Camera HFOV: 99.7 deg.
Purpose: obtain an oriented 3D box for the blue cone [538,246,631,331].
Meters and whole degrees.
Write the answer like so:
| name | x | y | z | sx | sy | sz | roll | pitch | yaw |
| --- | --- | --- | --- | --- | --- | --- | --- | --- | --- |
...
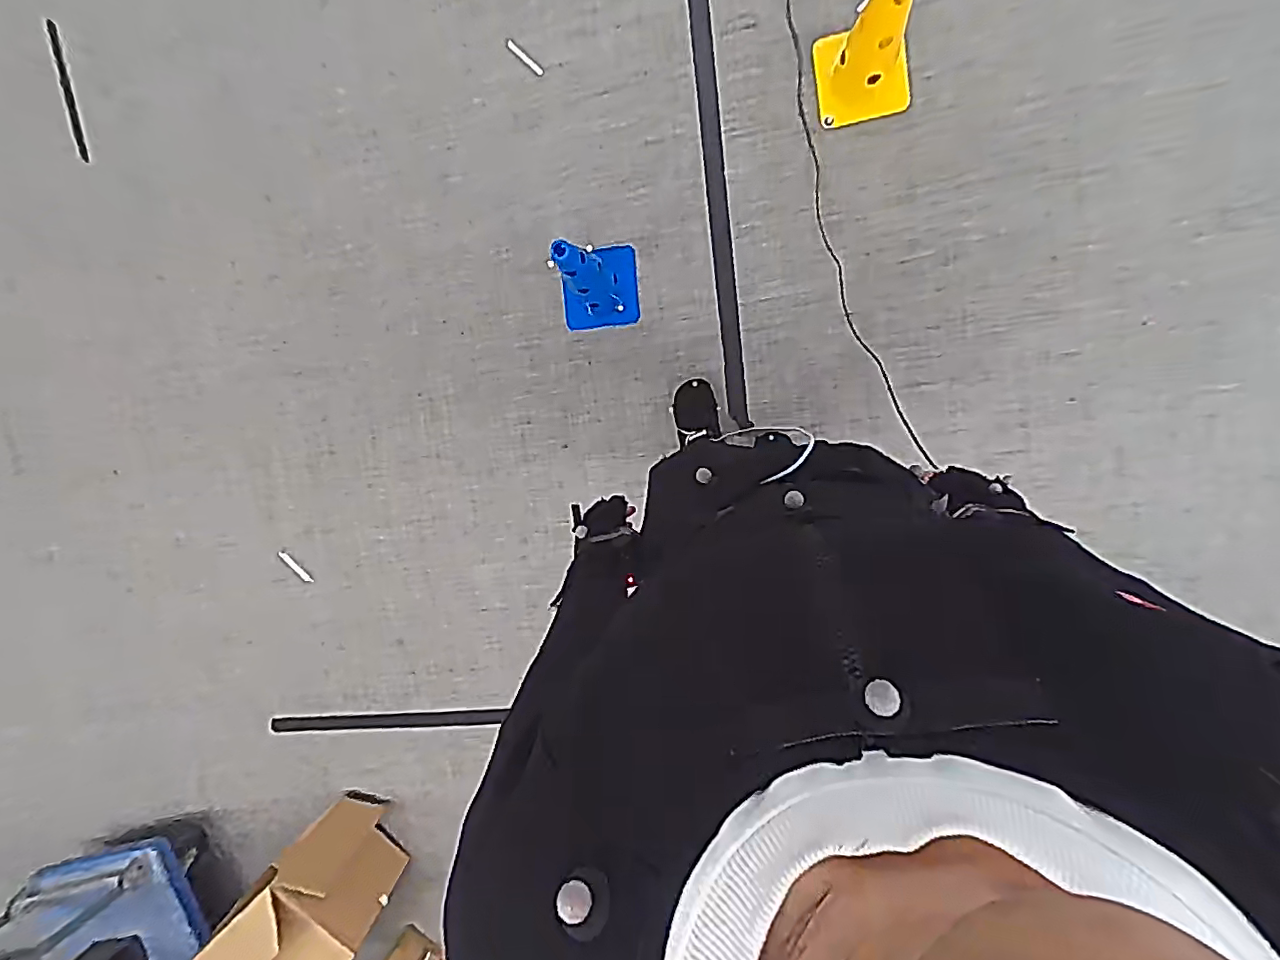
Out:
| name | x | y | z | sx | sy | sz | roll | pitch | yaw |
| --- | --- | --- | --- | --- | --- | --- | --- | --- | --- |
| blue cone | -0.147 | -0.476 | 1.260 | 0.192 | 0.380 | 0.193 | -2 | 97 | 10 |
